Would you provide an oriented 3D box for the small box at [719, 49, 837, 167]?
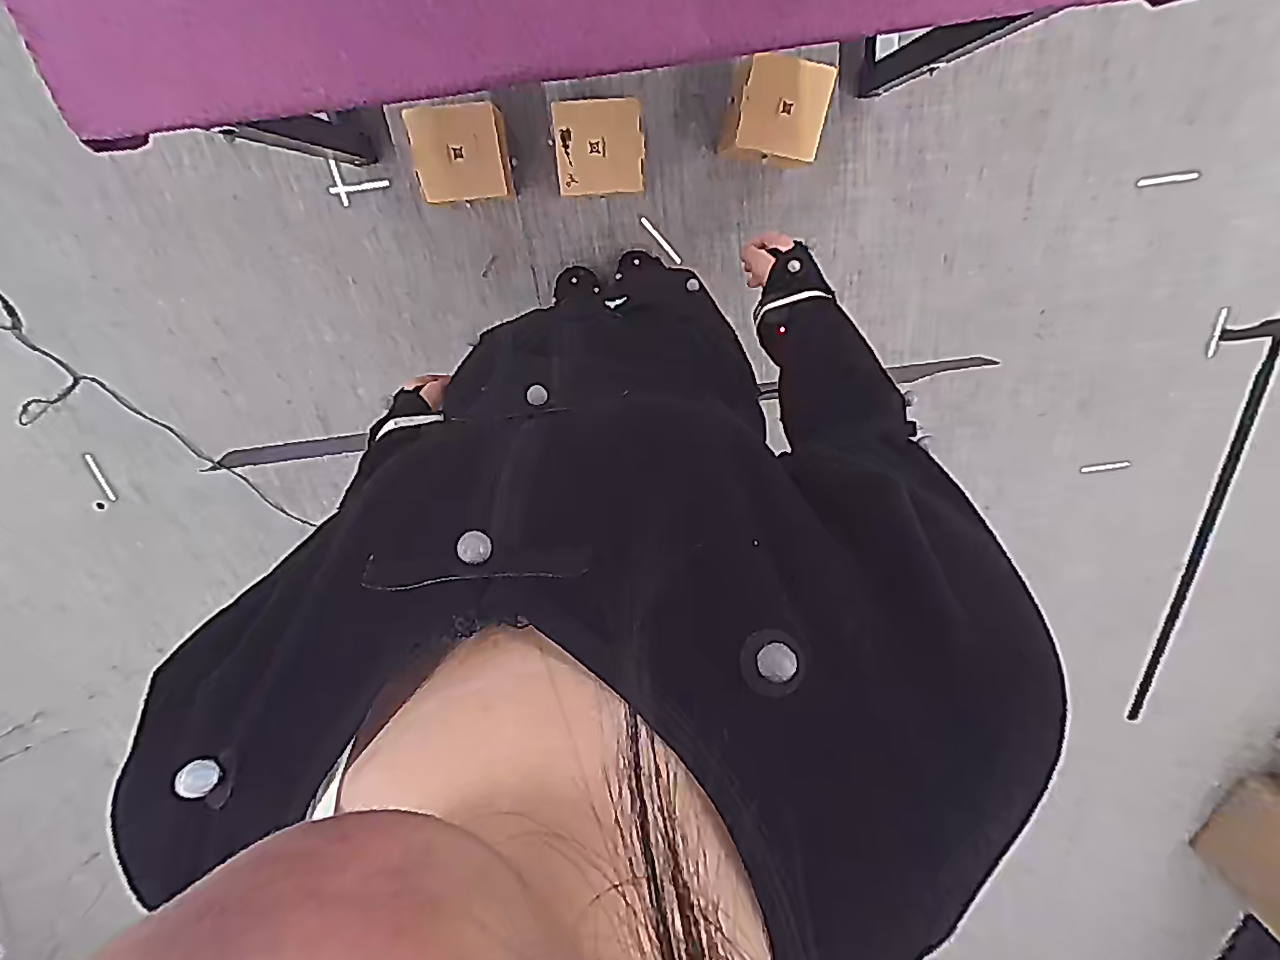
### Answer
[{"bbox_3d":[0.284,-0.780,1.153,0.179,0.176,0.168,8,115,-7],"label":"small box"}]

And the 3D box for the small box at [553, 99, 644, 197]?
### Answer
[{"bbox_3d":[-0.088,-0.704,1.159,0.179,0.176,0.168,-4,116,-3],"label":"small box"}]
